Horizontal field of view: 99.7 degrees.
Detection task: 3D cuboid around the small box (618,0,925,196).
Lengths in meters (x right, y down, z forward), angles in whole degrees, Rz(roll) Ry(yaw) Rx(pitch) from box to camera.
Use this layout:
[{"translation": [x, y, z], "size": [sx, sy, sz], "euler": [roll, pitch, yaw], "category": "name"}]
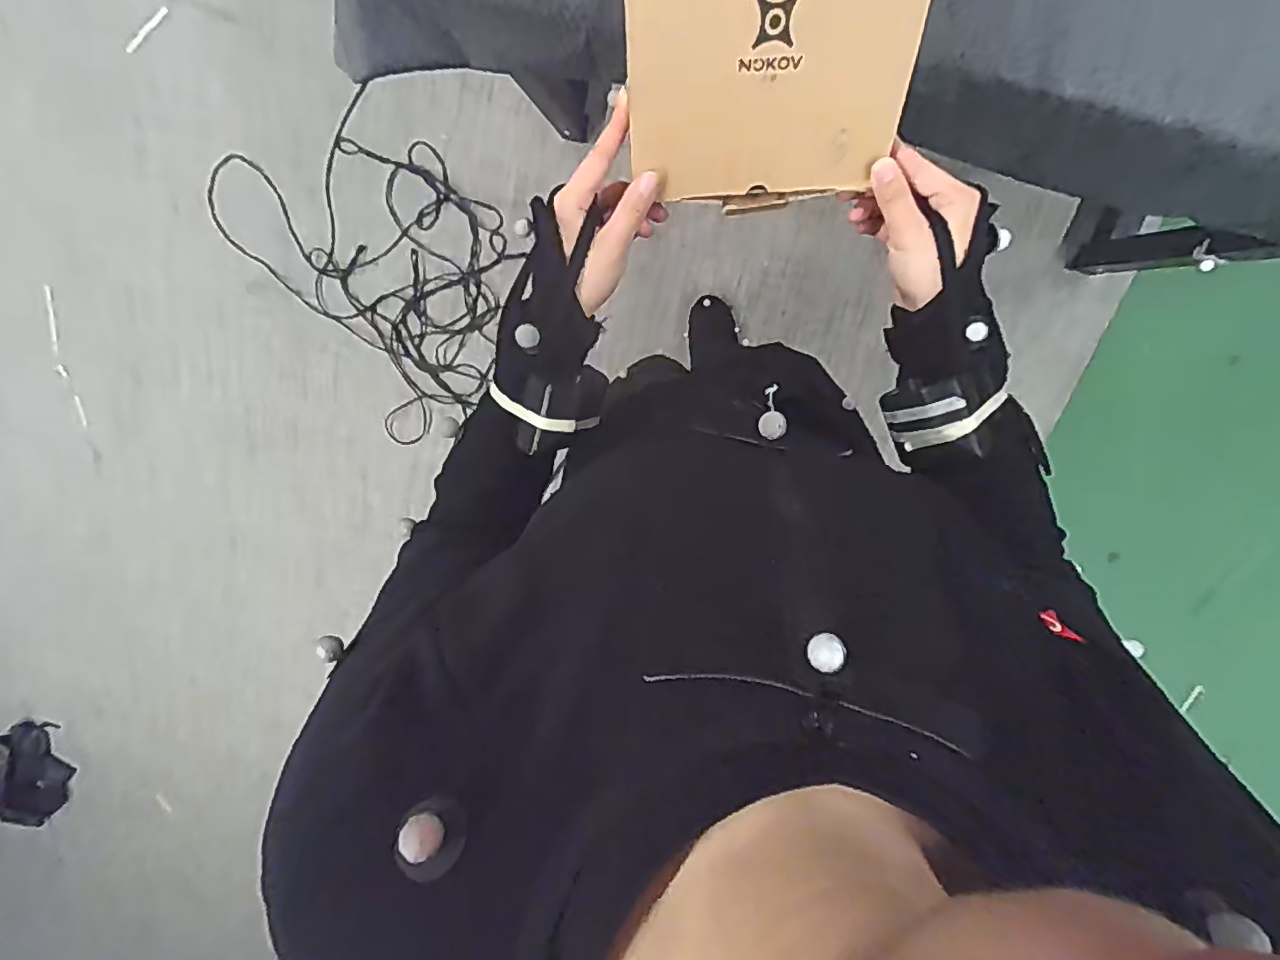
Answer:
[{"translation": [0.070, -0.308, 0.347], "size": [0.168, 0.176, 0.179], "euler": [-3, 136, 2], "category": "small box"}]
